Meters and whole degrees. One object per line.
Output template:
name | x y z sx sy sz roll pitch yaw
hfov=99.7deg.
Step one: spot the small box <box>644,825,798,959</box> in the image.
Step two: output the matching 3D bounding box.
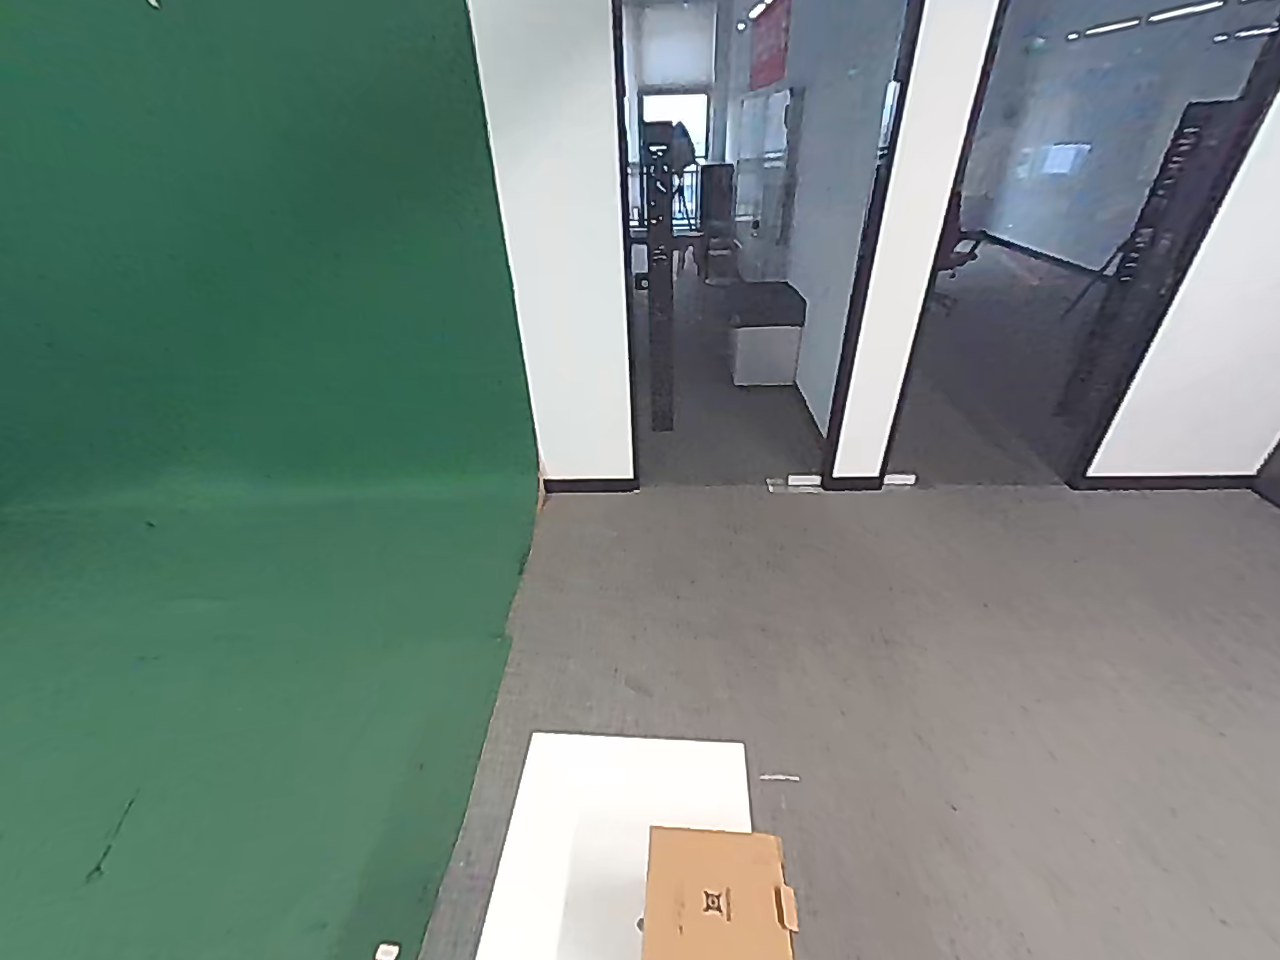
small box | 0.100 0.580 0.700 0.179 0.176 0.168 0 32 6
